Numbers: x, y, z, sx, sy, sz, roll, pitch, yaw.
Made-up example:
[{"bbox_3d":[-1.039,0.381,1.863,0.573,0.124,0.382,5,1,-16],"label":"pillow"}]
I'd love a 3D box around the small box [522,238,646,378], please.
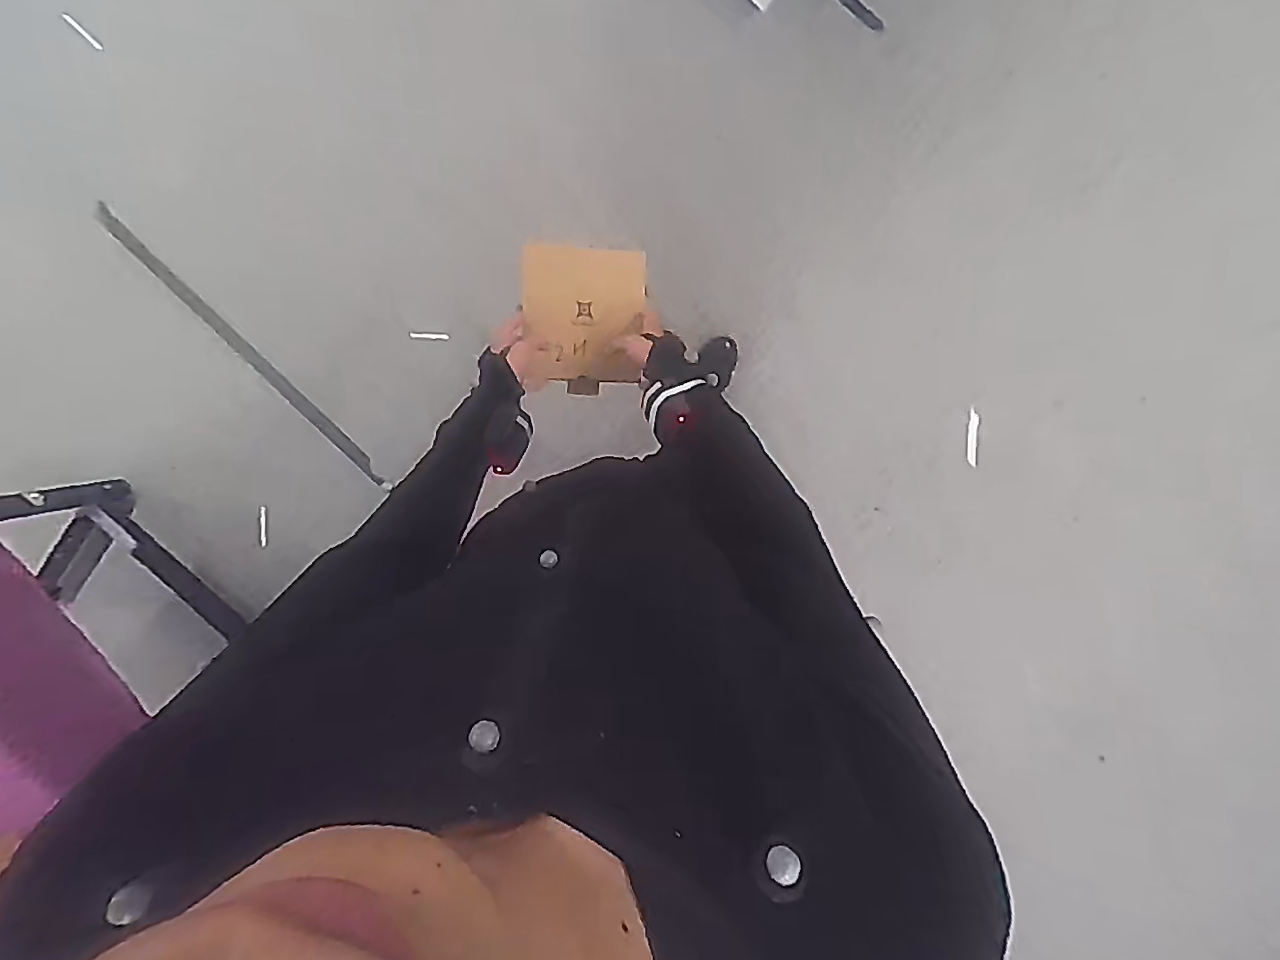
[{"bbox_3d":[-0.083,-0.245,0.806,0.168,0.176,0.179,1,102,-4],"label":"small box"}]
